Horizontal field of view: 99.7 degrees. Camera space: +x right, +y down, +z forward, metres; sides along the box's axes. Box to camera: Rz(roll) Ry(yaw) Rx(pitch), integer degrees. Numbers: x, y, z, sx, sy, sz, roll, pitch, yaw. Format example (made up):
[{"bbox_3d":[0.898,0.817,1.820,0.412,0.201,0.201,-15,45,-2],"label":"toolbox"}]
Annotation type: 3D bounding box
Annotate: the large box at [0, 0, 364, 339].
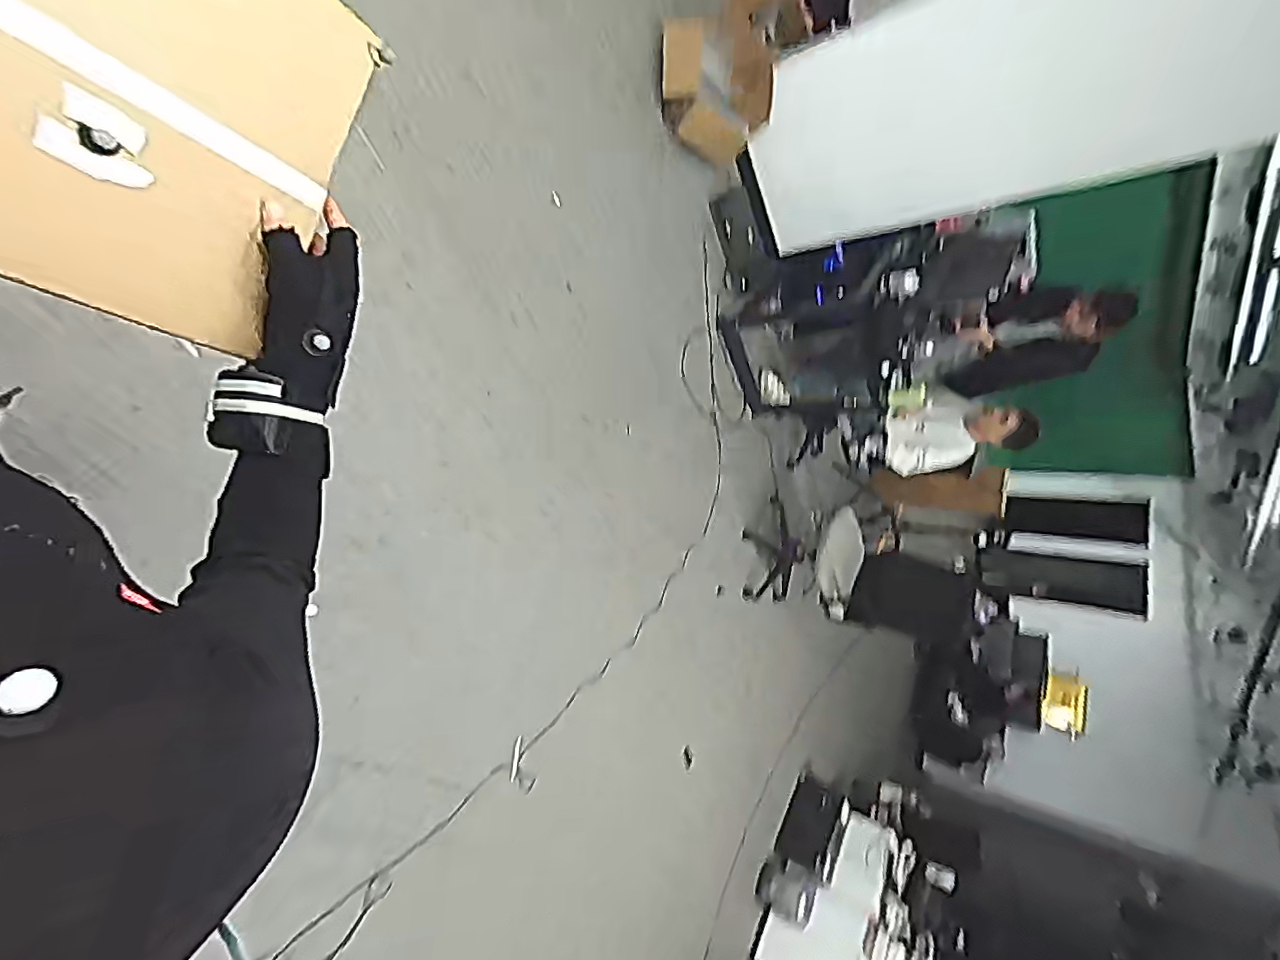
[{"bbox_3d":[-0.523,-0.344,0.422,0.408,0.320,0.320,19,91,-53],"label":"large box"}]
